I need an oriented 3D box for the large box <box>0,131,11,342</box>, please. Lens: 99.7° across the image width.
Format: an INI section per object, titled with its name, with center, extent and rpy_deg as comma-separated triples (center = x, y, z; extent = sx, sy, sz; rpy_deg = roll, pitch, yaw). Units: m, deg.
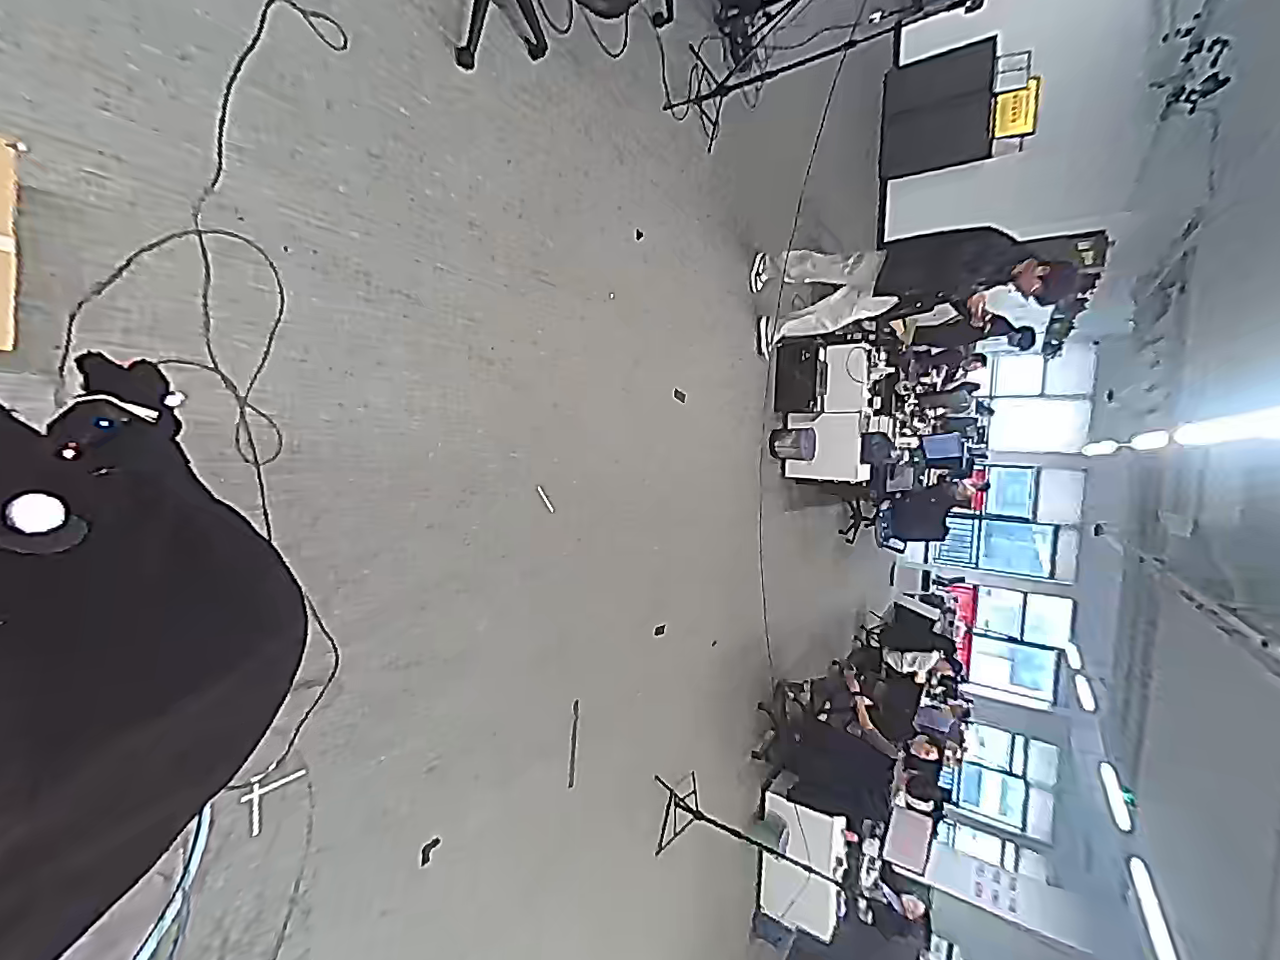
[large box]
center = -1.167, -0.363, 0.715
extent = 0.408, 0.320, 0.320
rpy_deg = 0, 94, -57
